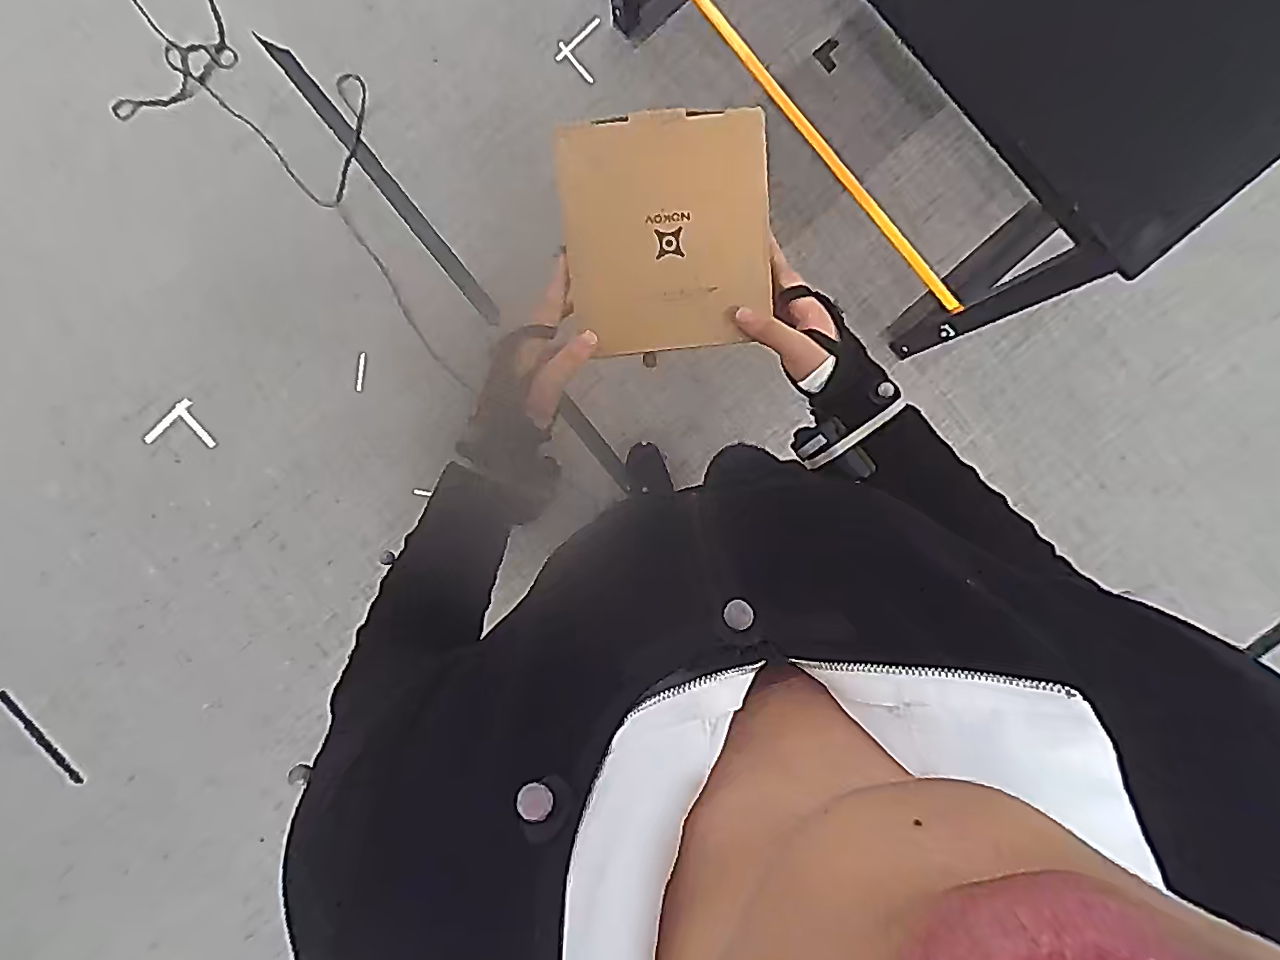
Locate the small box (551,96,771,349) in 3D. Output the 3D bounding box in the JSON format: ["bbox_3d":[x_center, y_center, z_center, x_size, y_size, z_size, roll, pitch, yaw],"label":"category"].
[{"bbox_3d":[0.013,-0.216,0.499,0.168,0.176,0.179,-6,105,-3],"label":"small box"}]

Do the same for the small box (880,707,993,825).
[{"bbox_3d":[0.758,0.738,1.411,0.179,0.176,0.168,-39,91,4],"label":"small box"}]
